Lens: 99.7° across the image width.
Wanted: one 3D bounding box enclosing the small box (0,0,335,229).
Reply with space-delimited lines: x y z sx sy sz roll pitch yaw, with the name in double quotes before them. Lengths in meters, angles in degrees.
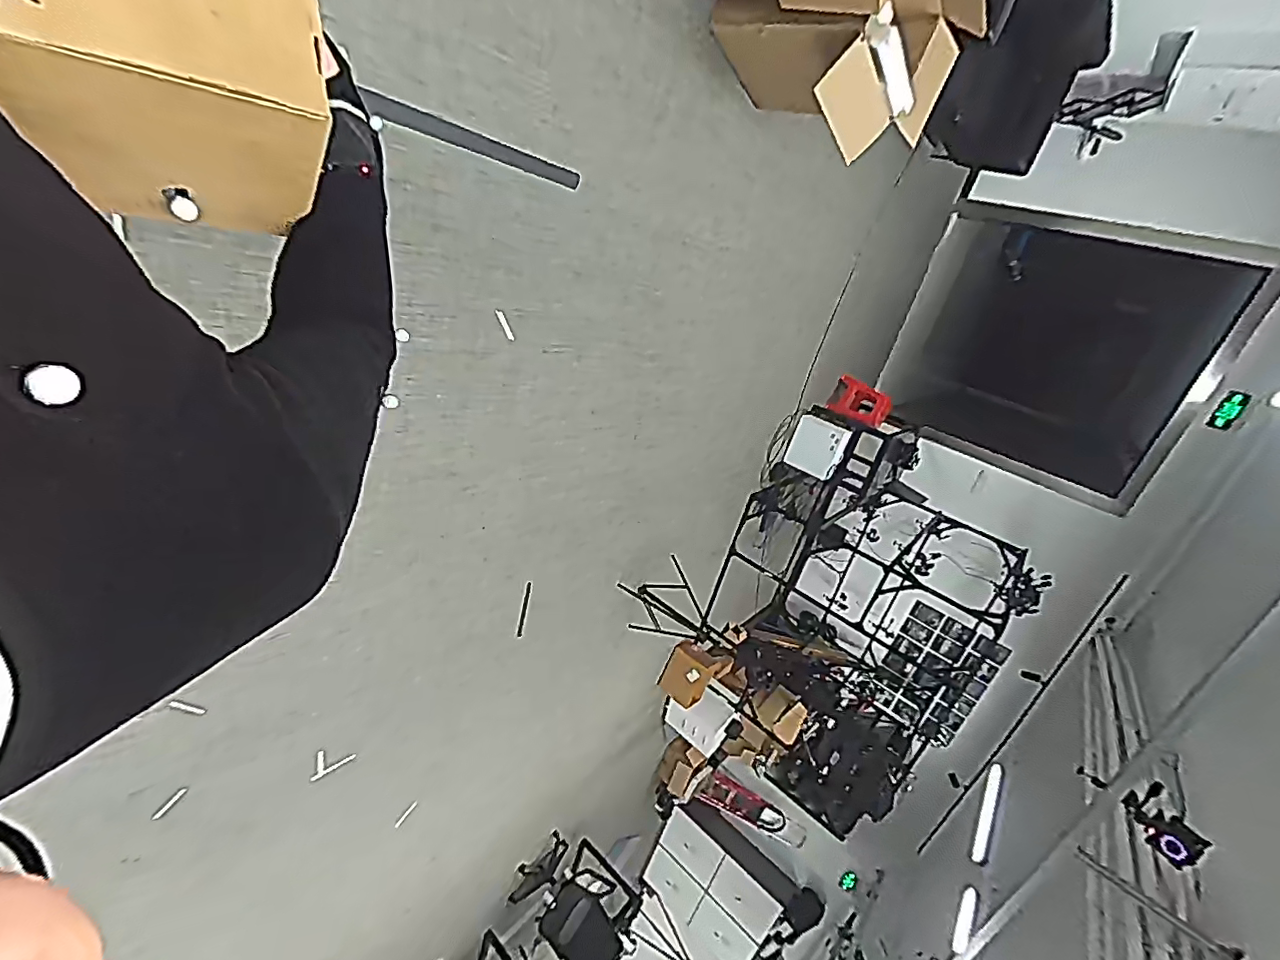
"small box" -0.348 -0.311 0.398 0.179 0.176 0.168 -9 87 -38
